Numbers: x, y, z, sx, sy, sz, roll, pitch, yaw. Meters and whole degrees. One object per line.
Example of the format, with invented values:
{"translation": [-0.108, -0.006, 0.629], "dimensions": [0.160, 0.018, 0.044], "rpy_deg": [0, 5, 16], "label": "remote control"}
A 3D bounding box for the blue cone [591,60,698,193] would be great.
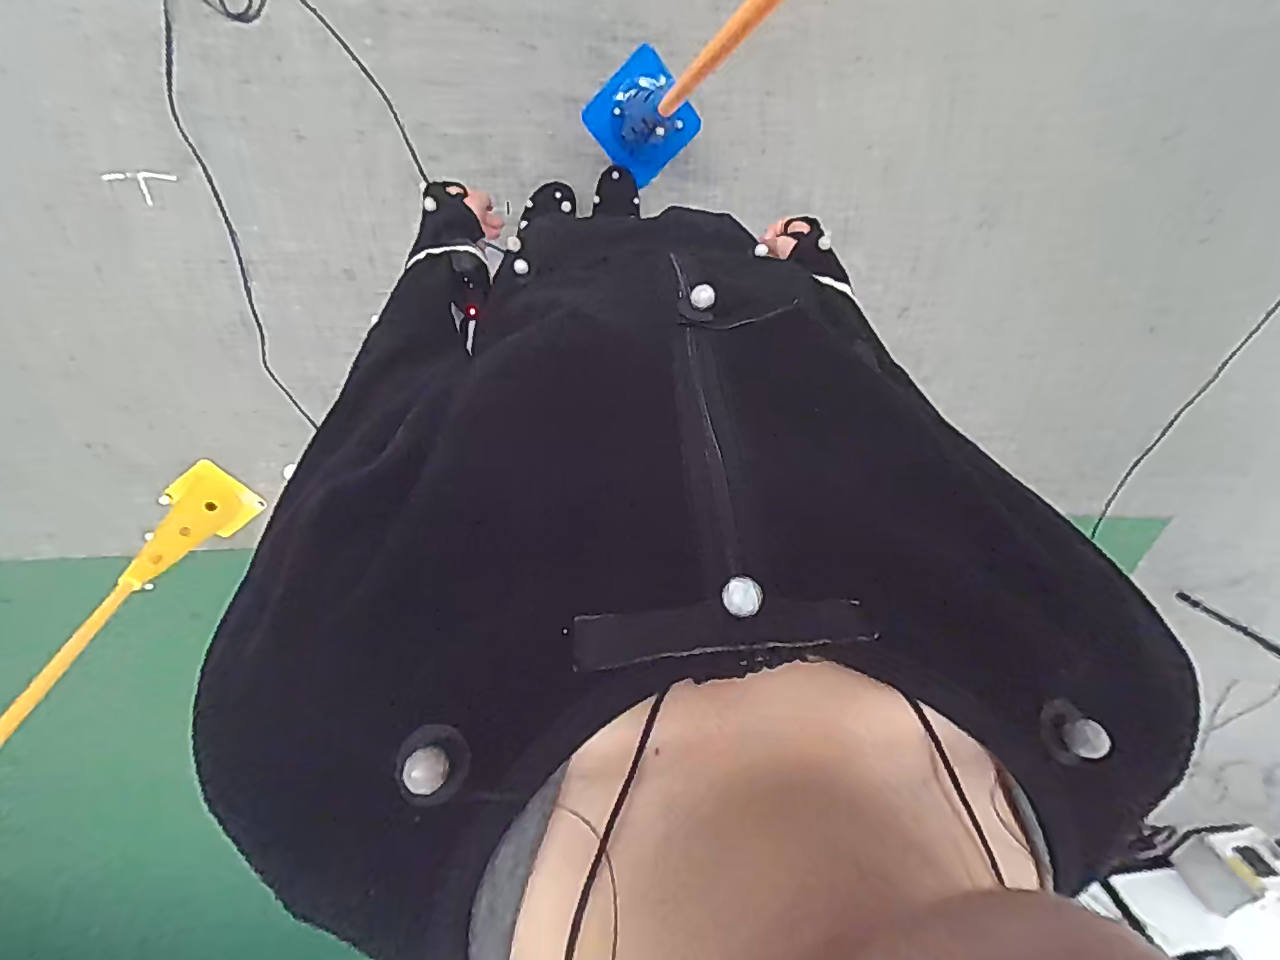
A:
{"translation": [0.027, -0.671, 1.019], "dimensions": [0.193, 0.380, 0.192], "rpy_deg": [-41, 117, 16], "label": "blue cone"}
